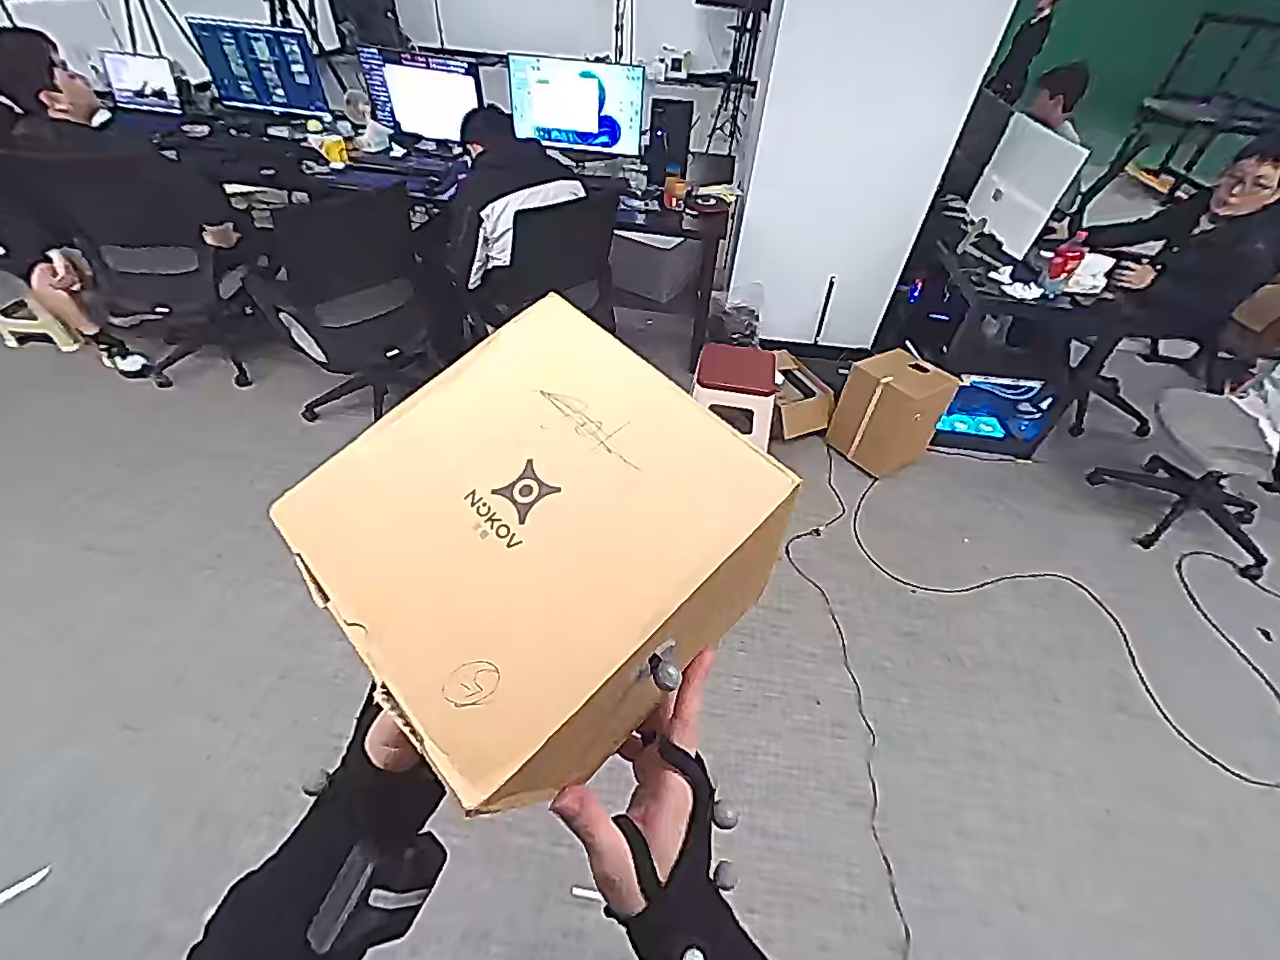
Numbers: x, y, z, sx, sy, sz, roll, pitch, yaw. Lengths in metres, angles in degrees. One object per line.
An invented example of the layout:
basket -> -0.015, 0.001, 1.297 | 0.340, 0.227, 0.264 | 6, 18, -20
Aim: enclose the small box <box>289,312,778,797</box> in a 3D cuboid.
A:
small box -> -0.043, 0.048, 0.317 | 0.179, 0.176, 0.168 | -42, 66, -14
